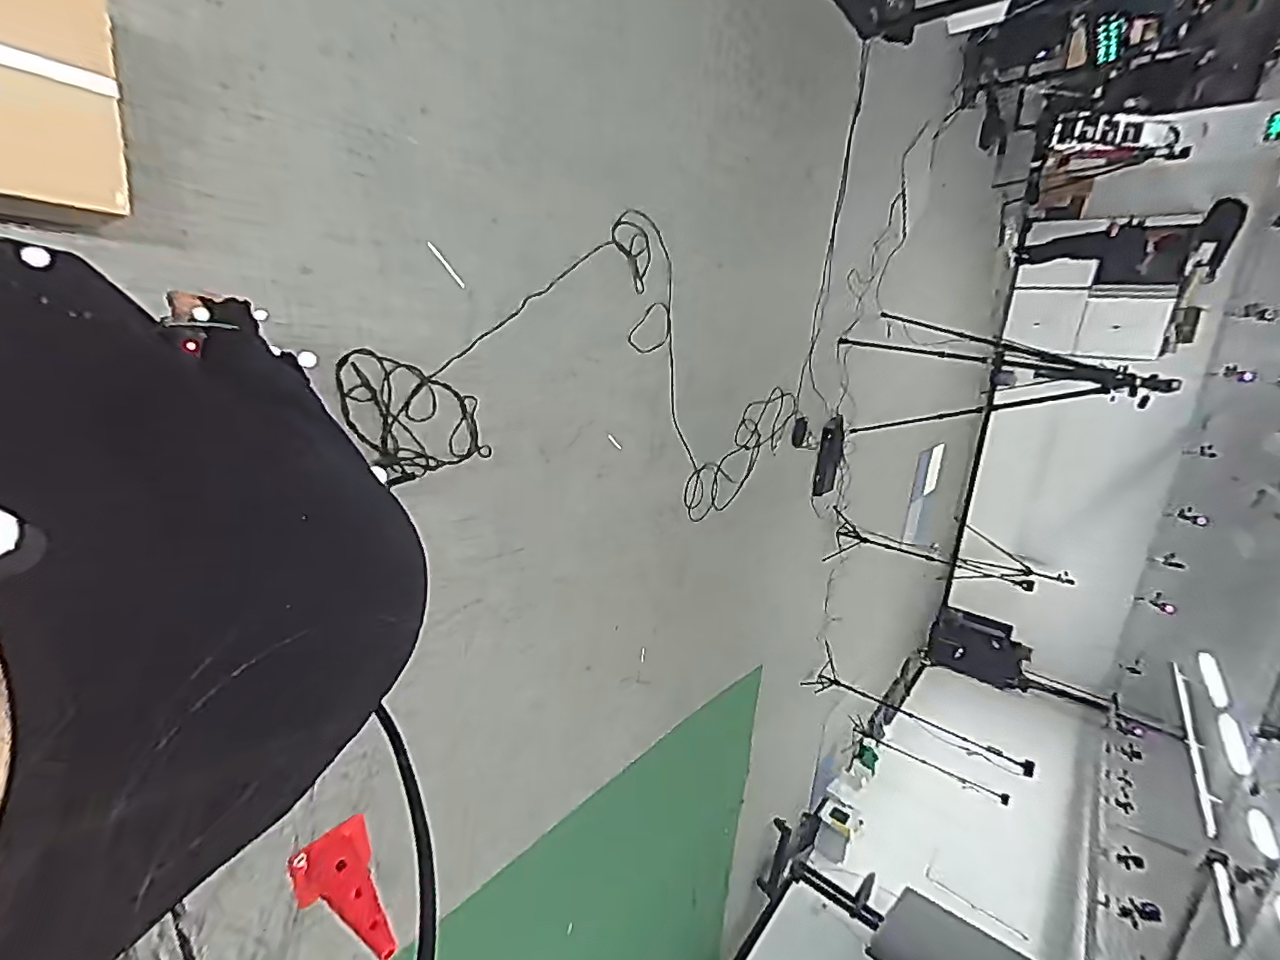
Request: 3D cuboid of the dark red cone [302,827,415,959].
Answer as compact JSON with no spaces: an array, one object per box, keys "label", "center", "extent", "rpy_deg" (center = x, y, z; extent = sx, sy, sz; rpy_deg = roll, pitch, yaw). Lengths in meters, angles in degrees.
[{"label":"dark red cone","center":[-0.701,1.135,1.409],"extent":[0.202,0.394,0.201],"rpy_deg":[-22,121,-45]}]
